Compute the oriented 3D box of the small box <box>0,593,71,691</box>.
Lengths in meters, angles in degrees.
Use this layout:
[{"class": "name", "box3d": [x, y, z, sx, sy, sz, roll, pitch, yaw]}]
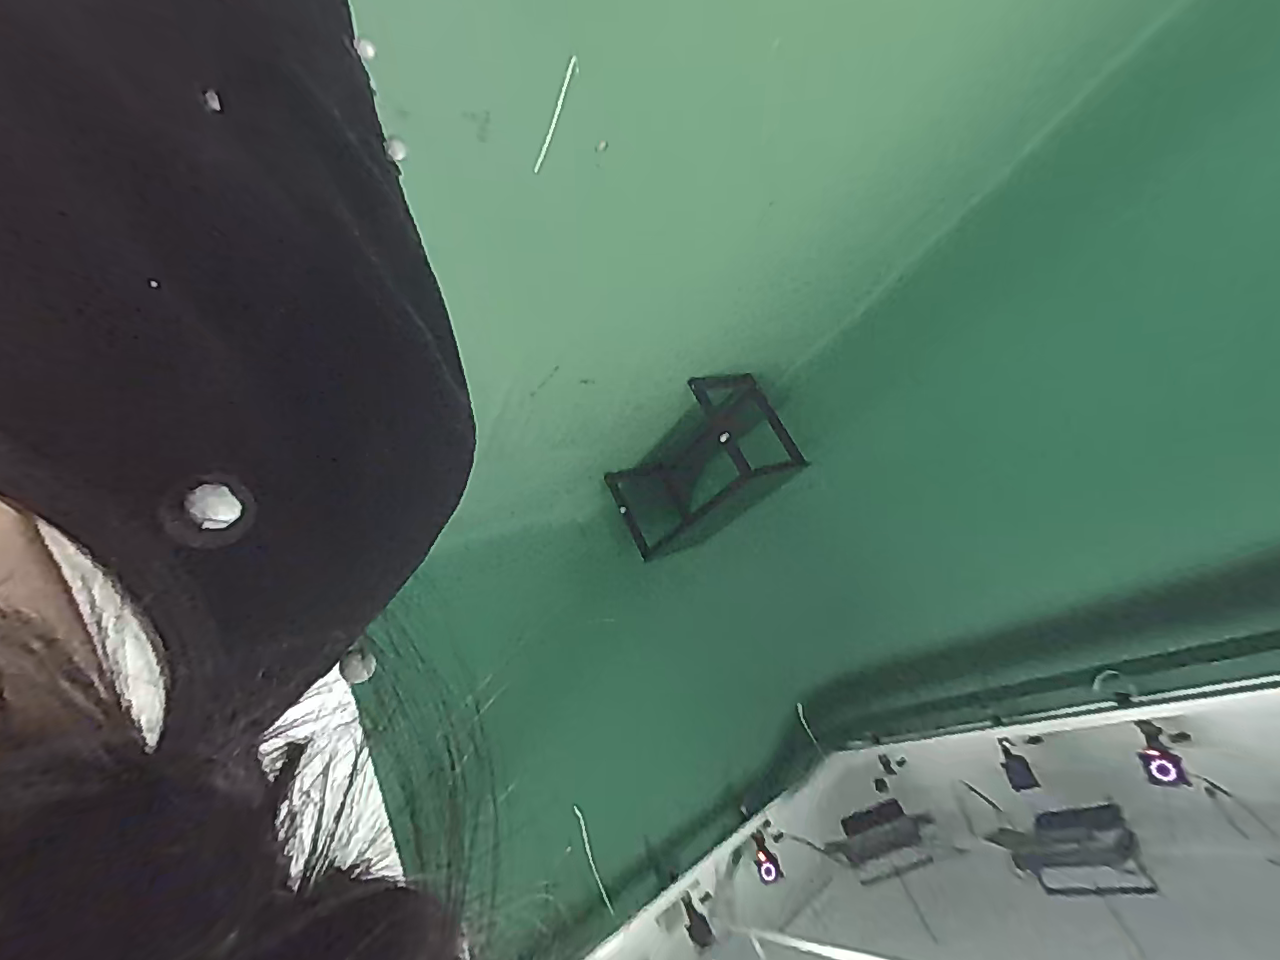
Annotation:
[{"class": "small box", "box3d": [-1.542, 0.392, 1.298, 0.179, 0.176, 0.168, -25, 163, -8]}]
